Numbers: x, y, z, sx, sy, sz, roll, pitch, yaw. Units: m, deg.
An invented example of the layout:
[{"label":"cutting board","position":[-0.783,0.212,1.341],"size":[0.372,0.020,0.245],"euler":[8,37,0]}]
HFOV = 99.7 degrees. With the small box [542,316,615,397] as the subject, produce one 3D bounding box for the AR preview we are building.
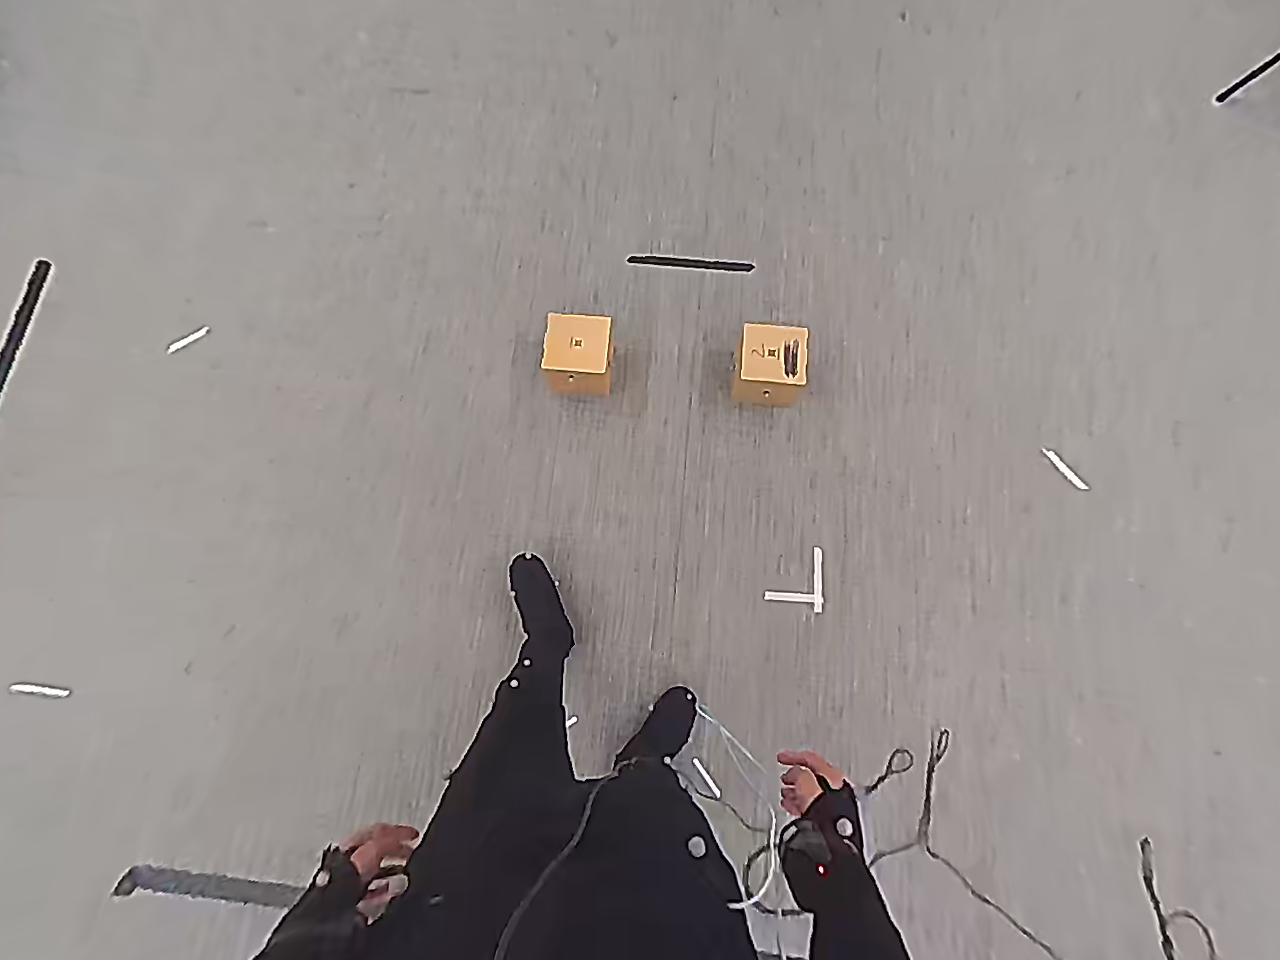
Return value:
[{"label":"small box","position":[-0.167,-0.344,1.534],"size":[0.179,0.176,0.168],"euler":[5,78,2]}]
